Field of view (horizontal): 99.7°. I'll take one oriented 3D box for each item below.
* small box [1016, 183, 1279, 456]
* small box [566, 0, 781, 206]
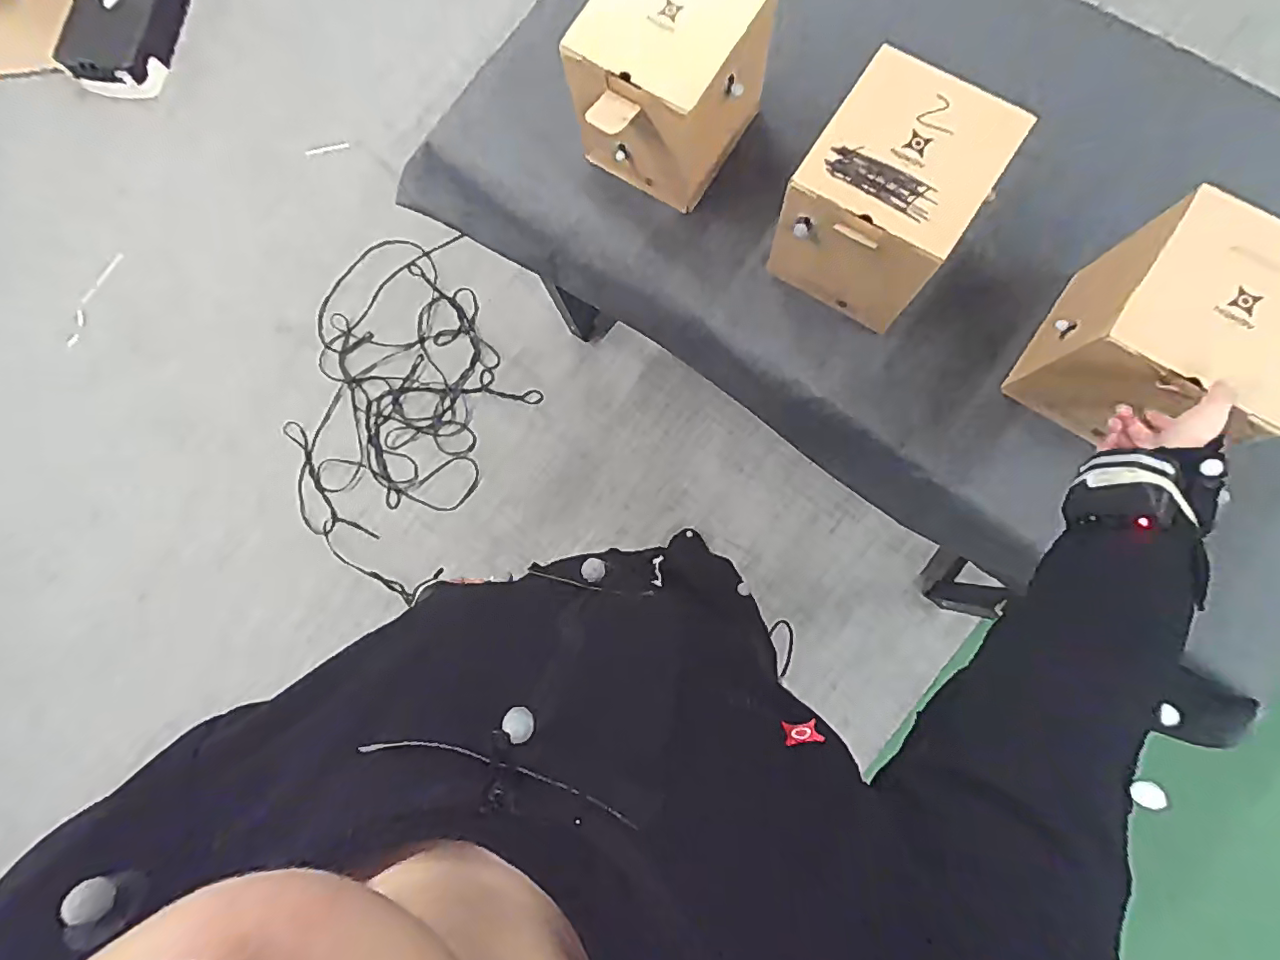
[{"bbox_3d":[0.534,-0.143,0.550,0.168,0.176,0.179,34,86,7],"label":"small box"},{"bbox_3d":[0.039,-0.472,0.636,0.168,0.176,0.179,32,87,8],"label":"small box"}]
